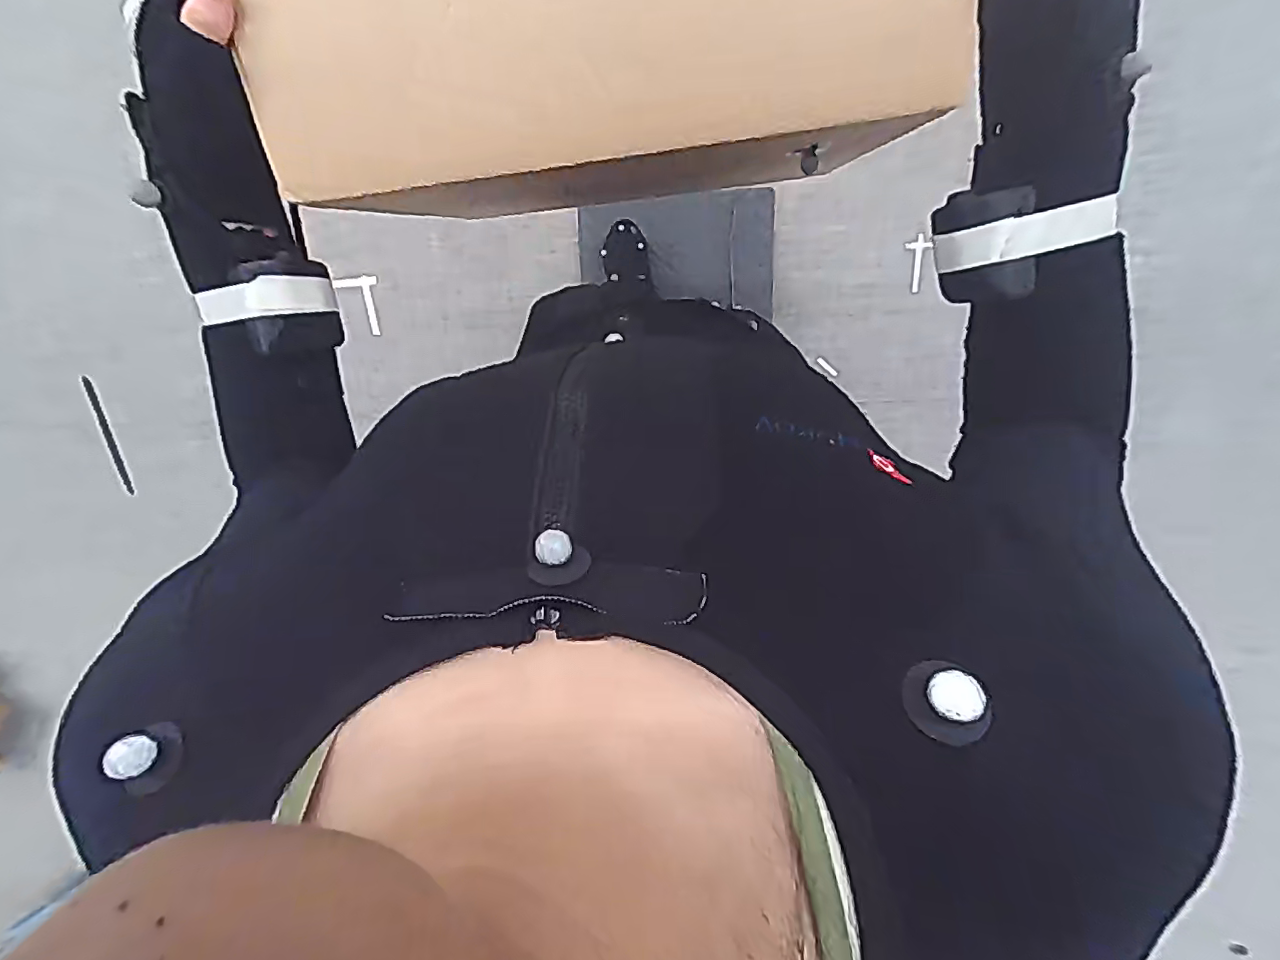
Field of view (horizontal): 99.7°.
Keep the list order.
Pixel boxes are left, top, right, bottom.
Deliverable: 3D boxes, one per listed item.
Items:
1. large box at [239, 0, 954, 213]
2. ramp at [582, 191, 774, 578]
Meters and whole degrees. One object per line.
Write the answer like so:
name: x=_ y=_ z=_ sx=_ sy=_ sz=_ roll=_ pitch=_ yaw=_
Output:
large box: x=-0.027 y=-0.399 z=0.405 sx=0.408 sy=0.320 sz=0.320 roll=-4 pitch=113 yaw=7
ramp: x=0.102 y=-0.221 z=1.441 sx=0.509 sy=0.206 sz=0.991 roll=-2 pitch=109 yaw=8
